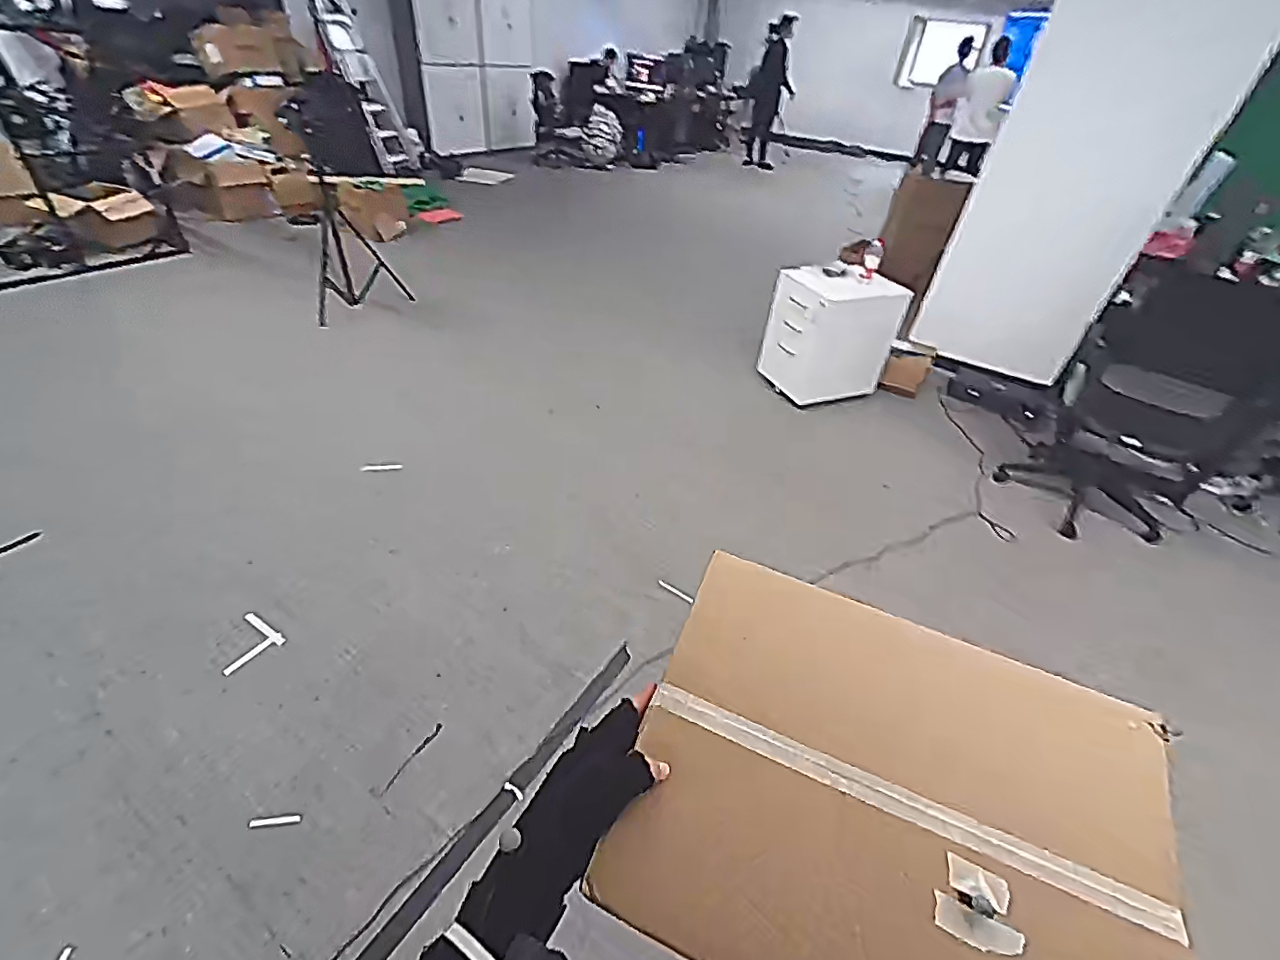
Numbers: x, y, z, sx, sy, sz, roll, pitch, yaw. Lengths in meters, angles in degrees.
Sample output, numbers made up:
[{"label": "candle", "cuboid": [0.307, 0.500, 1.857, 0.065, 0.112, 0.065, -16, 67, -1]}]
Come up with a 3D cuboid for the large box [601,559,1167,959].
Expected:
[{"label": "large box", "cuboid": [0.206, 0.343, 0.571, 0.408, 0.320, 0.320, 20, 58, 14]}]
